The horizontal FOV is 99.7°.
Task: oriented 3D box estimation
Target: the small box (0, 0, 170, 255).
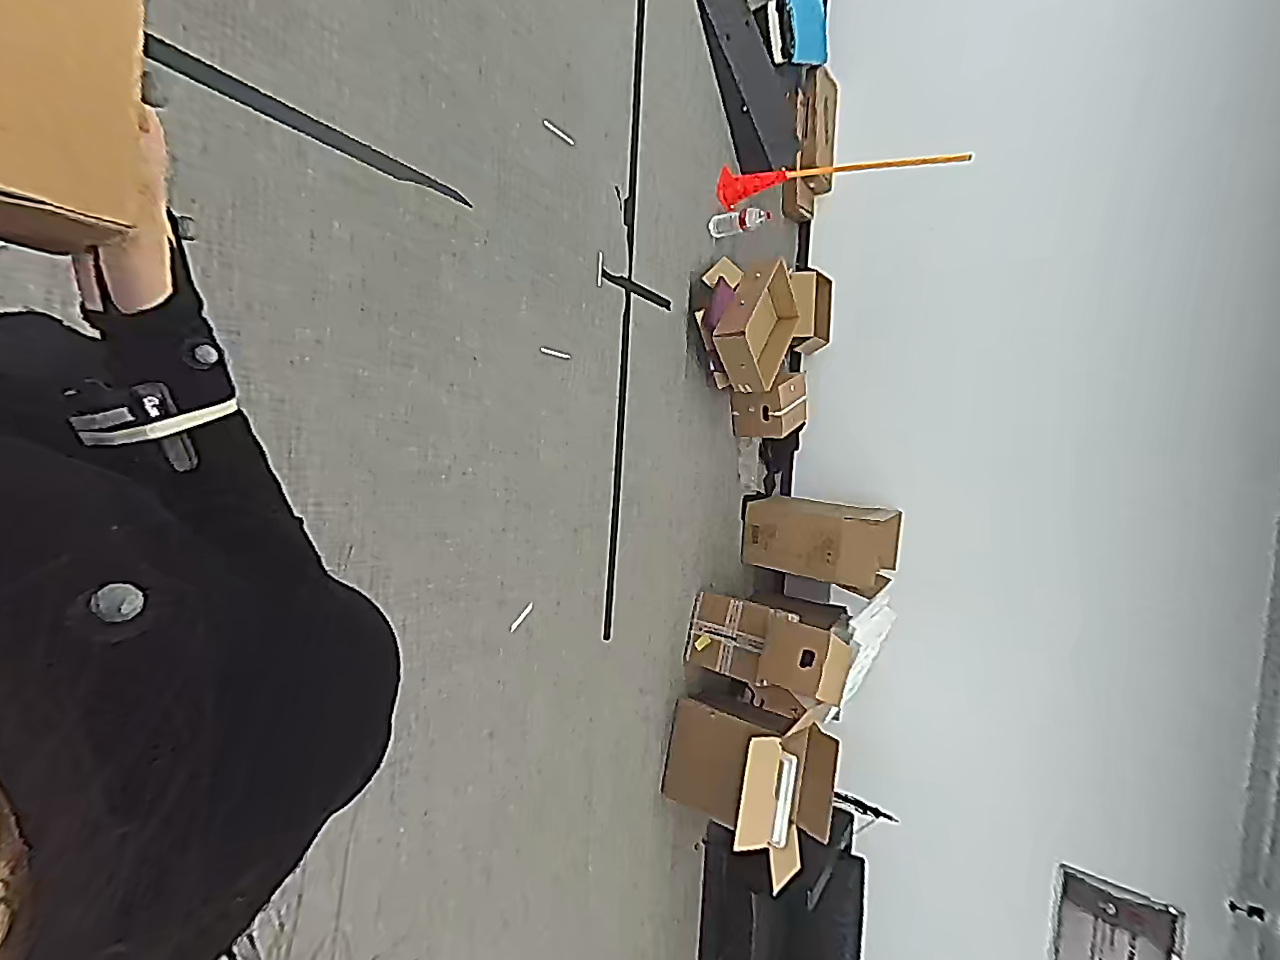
[{"bbox_3d":[-0.335,-0.214,0.233,0.168,0.176,0.179,-1,101,-55],"label":"small box"}]
